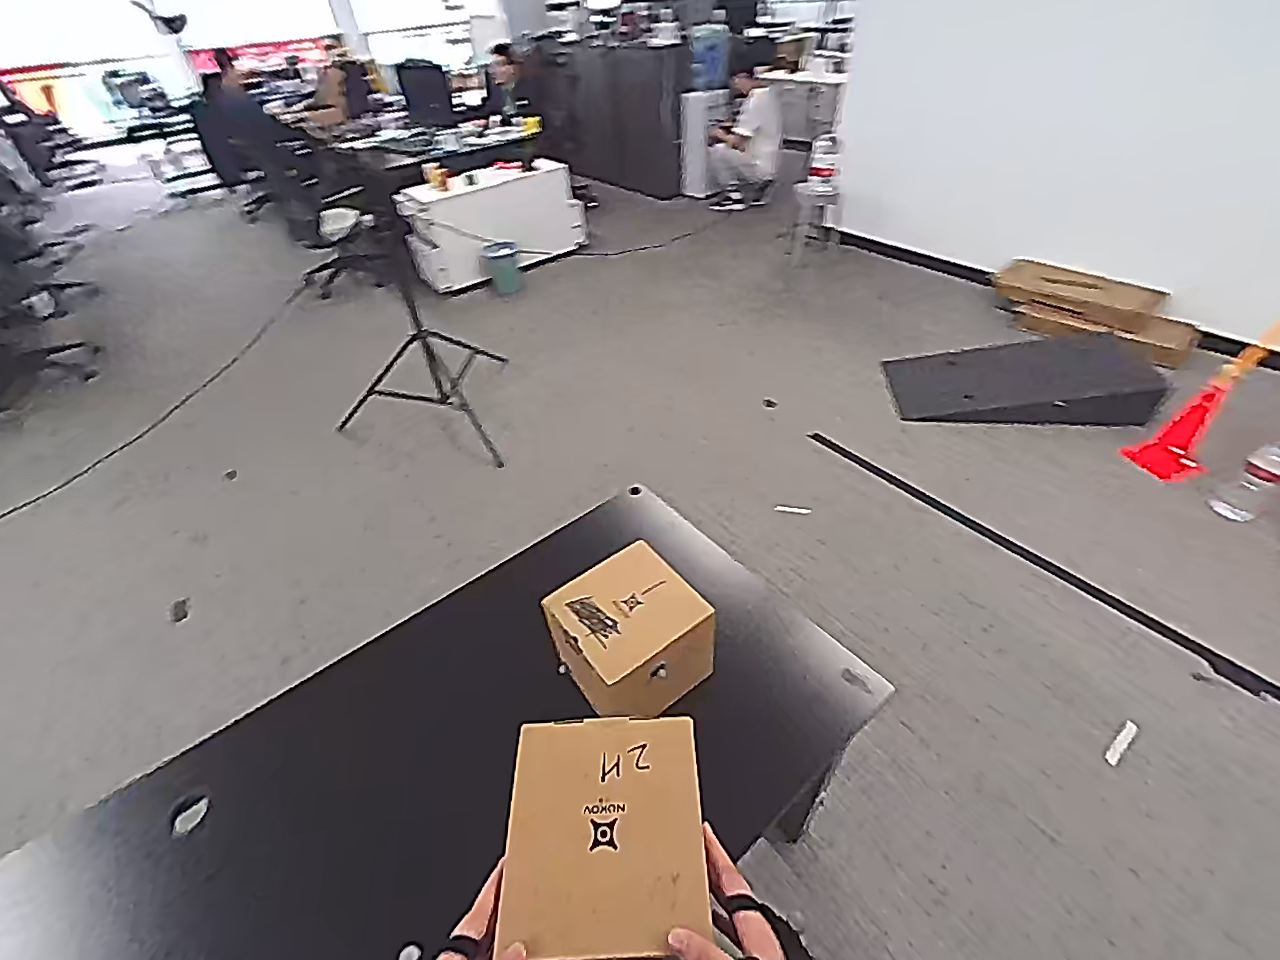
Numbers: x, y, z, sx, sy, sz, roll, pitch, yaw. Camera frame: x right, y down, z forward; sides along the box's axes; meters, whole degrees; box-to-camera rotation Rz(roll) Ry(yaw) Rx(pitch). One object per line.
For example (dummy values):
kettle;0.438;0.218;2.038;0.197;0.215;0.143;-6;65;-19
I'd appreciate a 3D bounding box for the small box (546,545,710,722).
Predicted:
small box;-0.012;0.236;0.796;0.179;0.176;0.168;-29;47;-24

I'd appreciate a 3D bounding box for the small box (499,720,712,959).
small box;-0.022;0.353;0.518;0.168;0.176;0.179;-1;42;1
